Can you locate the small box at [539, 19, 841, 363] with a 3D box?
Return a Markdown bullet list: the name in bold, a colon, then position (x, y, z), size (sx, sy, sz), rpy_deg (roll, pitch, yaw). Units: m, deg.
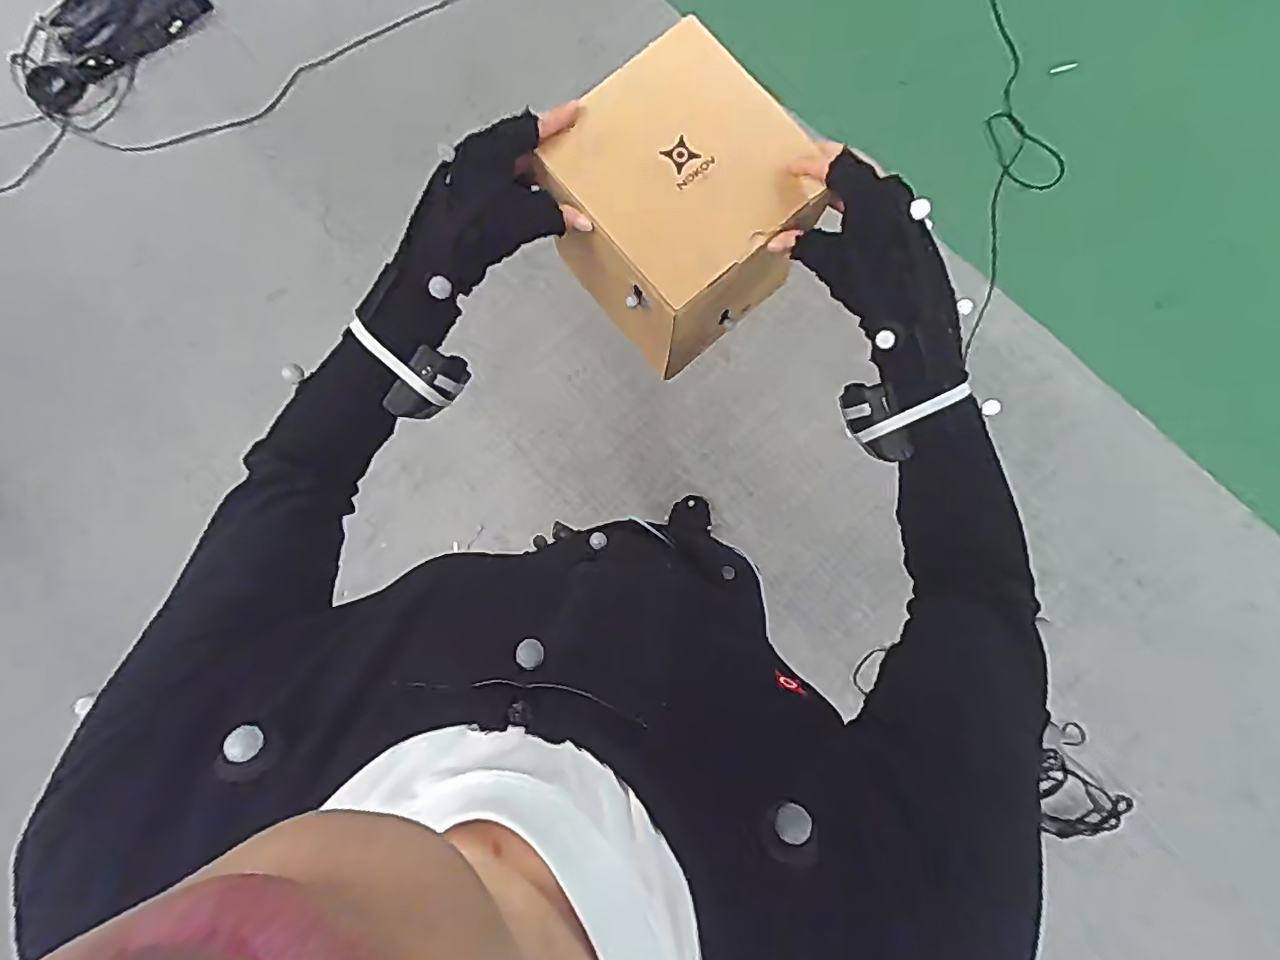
- **small box**: position (0.036, -0.236, 0.488), size (0.168, 0.176, 0.179), rpy_deg (-40, 86, -4)
